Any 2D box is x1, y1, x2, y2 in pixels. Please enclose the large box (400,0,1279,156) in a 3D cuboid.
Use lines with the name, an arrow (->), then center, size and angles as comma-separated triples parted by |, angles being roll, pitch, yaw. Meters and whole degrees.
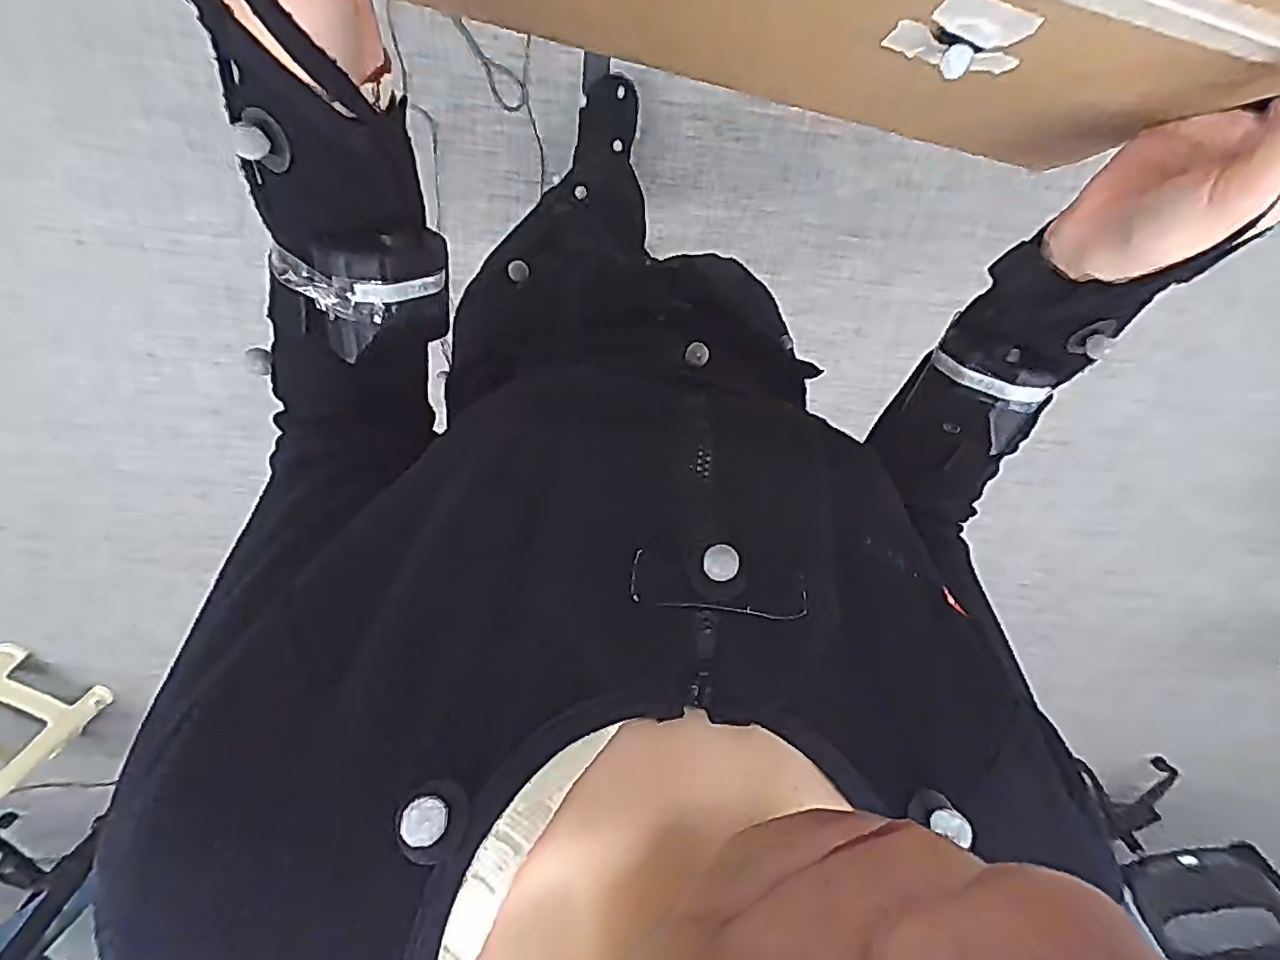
large box -> 0.099, -0.338, 0.139 | 0.408, 0.320, 0.320 | 8, 106, -8
